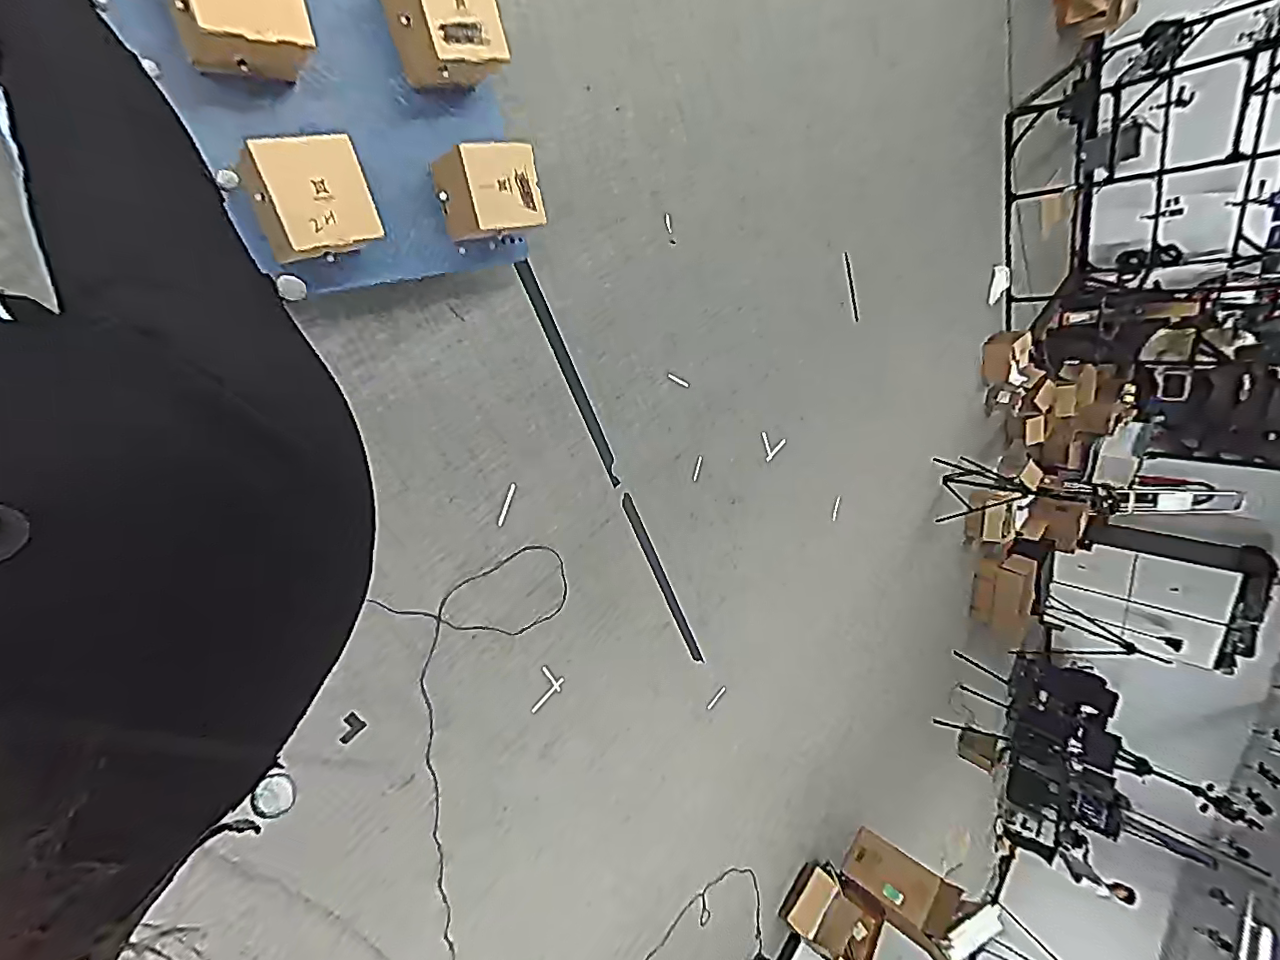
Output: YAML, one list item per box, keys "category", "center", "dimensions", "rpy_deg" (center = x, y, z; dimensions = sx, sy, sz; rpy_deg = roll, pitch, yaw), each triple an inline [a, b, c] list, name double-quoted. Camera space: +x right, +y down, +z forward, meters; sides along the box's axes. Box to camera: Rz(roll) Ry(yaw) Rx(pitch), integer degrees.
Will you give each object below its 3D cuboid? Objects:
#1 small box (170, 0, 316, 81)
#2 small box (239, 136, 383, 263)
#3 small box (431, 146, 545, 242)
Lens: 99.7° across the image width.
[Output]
- category: "small box"
  center: [-0.677, -0.806, 0.903]
  dimensions: [0.168, 0.176, 0.179]
  rpy_deg: [-24, 117, -37]
- category: "small box"
  center: [-0.622, -0.524, 1.020]
  dimensions: [0.168, 0.176, 0.179]
  rpy_deg: [-29, 119, -34]
- category: "small box"
  center: [-0.349, -0.652, 1.241]
  dimensions: [0.179, 0.176, 0.168]
  rpy_deg: [-26, 116, -35]
